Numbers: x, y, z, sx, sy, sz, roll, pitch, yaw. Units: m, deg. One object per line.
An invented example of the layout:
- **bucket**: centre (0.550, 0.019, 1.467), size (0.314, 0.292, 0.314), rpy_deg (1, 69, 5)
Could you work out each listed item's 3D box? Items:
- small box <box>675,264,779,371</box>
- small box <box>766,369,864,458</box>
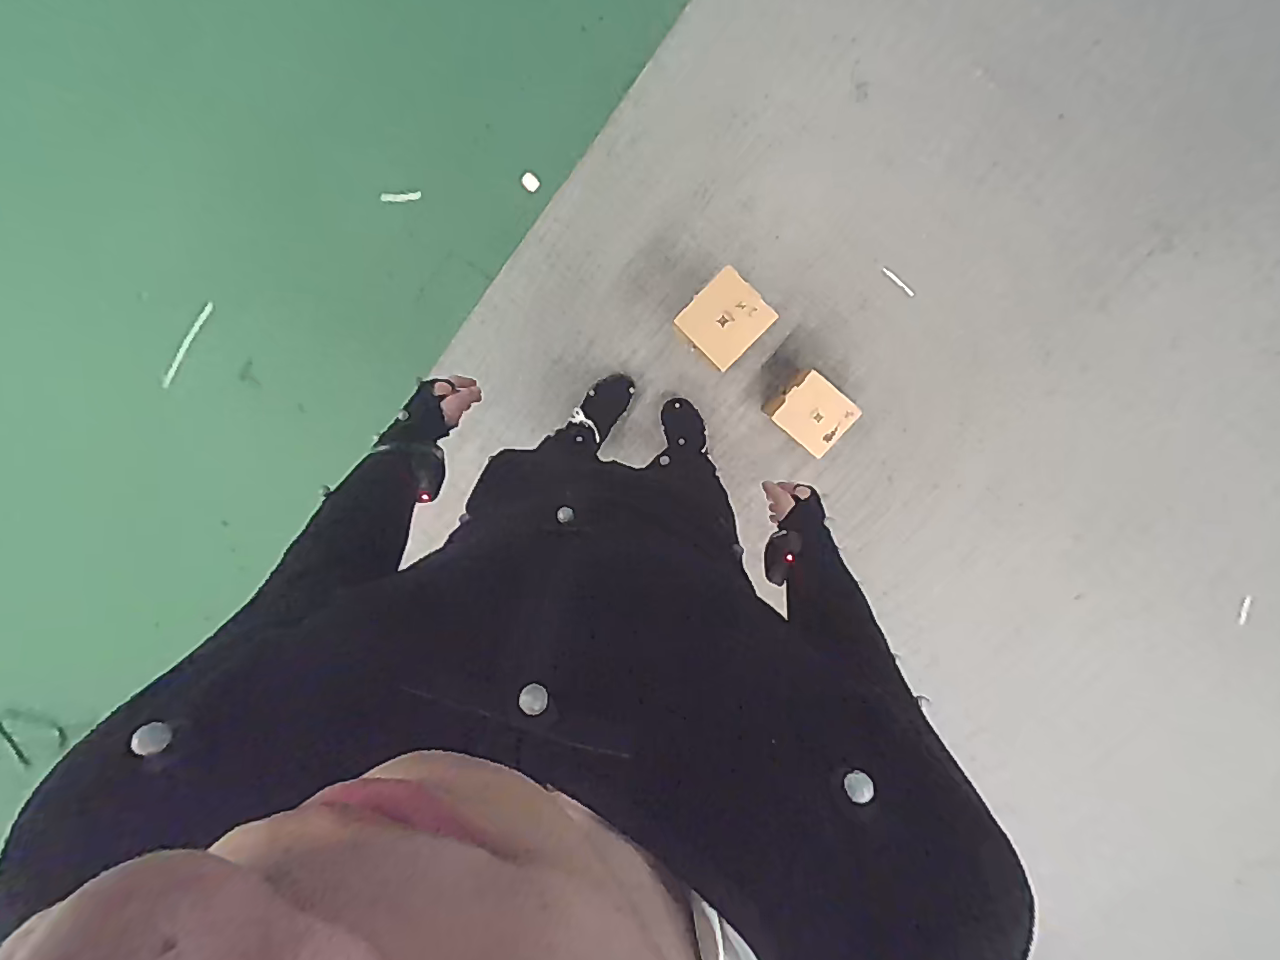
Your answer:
- **small box**: centre (0.203, -0.378, 1.288), size (0.179, 0.176, 0.168), rpy_deg (-44, 96, 11)
- **small box**: centre (0.466, -0.183, 1.474), size (0.179, 0.176, 0.168), rpy_deg (40, 102, -3)
